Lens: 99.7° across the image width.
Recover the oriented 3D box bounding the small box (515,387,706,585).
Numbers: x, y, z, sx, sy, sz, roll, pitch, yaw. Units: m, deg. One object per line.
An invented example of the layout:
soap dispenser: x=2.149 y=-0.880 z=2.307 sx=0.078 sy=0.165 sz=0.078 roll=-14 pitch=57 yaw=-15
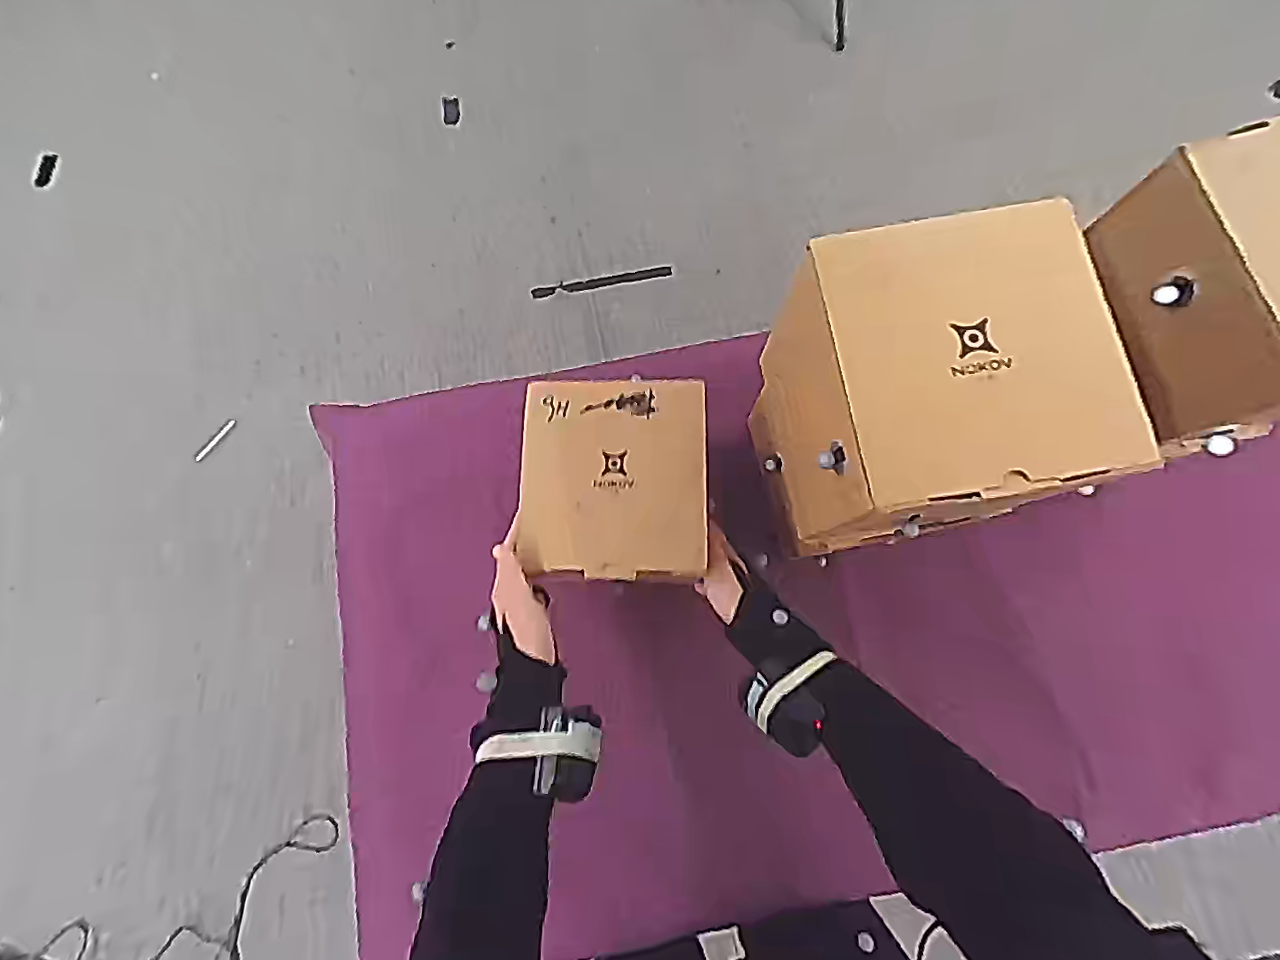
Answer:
small box: x=-0.020 y=0.017 z=0.555 sx=0.168 sy=0.176 sz=0.179 roll=1 pitch=77 yaw=3

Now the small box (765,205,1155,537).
small box: x=0.201 y=-0.063 z=0.401 sx=0.168 sy=0.176 sz=0.179 roll=-9 pitch=78 yaw=0

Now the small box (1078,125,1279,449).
small box: x=0.442 y=-0.132 z=0.406 sx=0.168 sy=0.176 sz=0.179 roll=-14 pitch=78 yaw=0

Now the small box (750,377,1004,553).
small box: x=0.222 y=-0.025 z=0.558 sx=0.168 sy=0.176 sz=0.179 roll=-12 pitch=77 yaw=0
